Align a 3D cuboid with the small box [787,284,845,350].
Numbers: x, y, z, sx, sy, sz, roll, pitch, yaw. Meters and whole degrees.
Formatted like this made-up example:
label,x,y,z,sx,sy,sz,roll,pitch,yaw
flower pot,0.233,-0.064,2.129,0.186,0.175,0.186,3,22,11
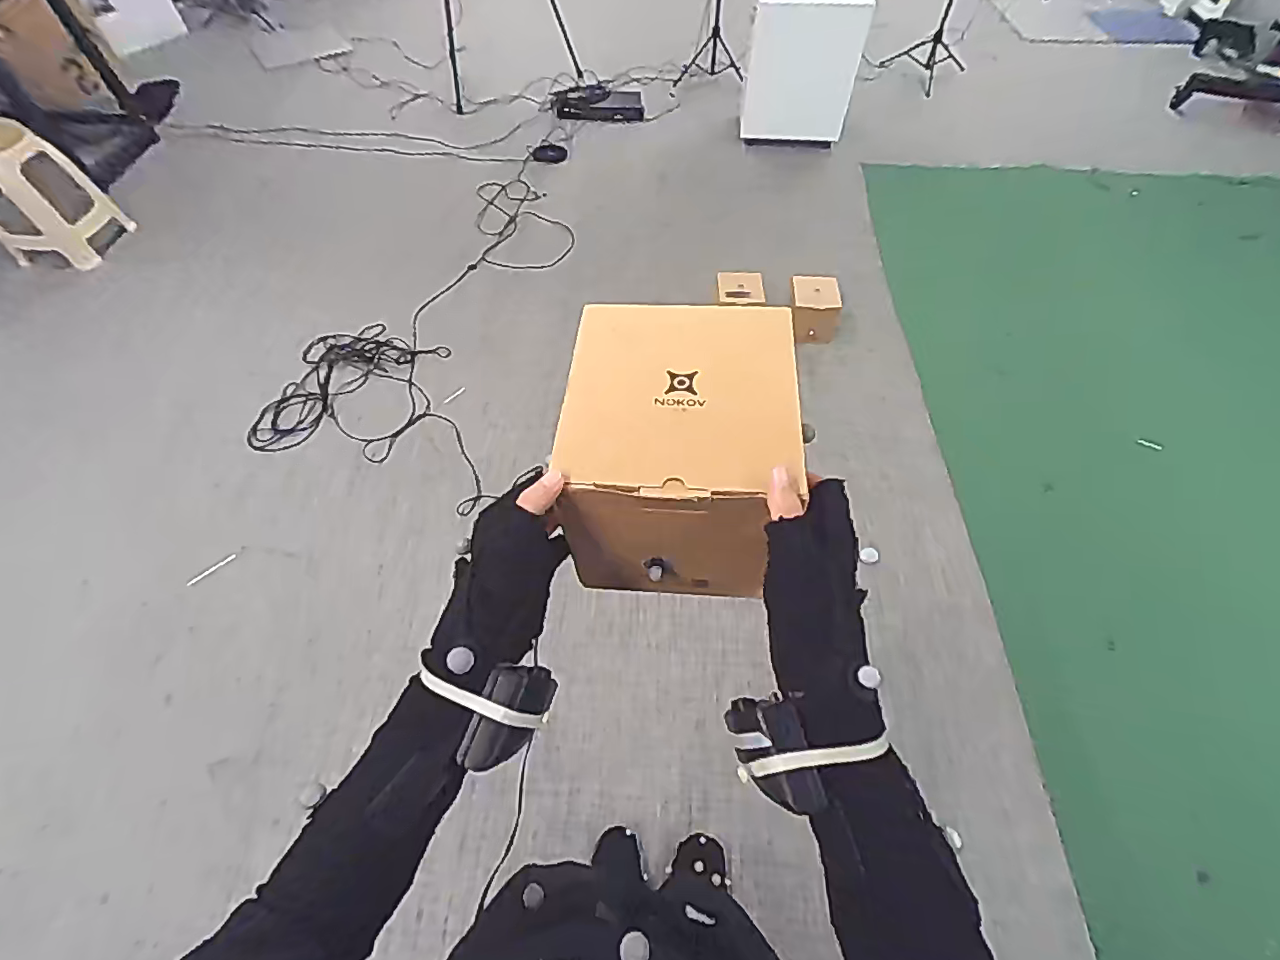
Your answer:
label,x,y,z,sx,sy,sz,roll,pitch,yaw
small box,0.663,-0.620,2.056,0.168,0.176,0.179,3,57,3
